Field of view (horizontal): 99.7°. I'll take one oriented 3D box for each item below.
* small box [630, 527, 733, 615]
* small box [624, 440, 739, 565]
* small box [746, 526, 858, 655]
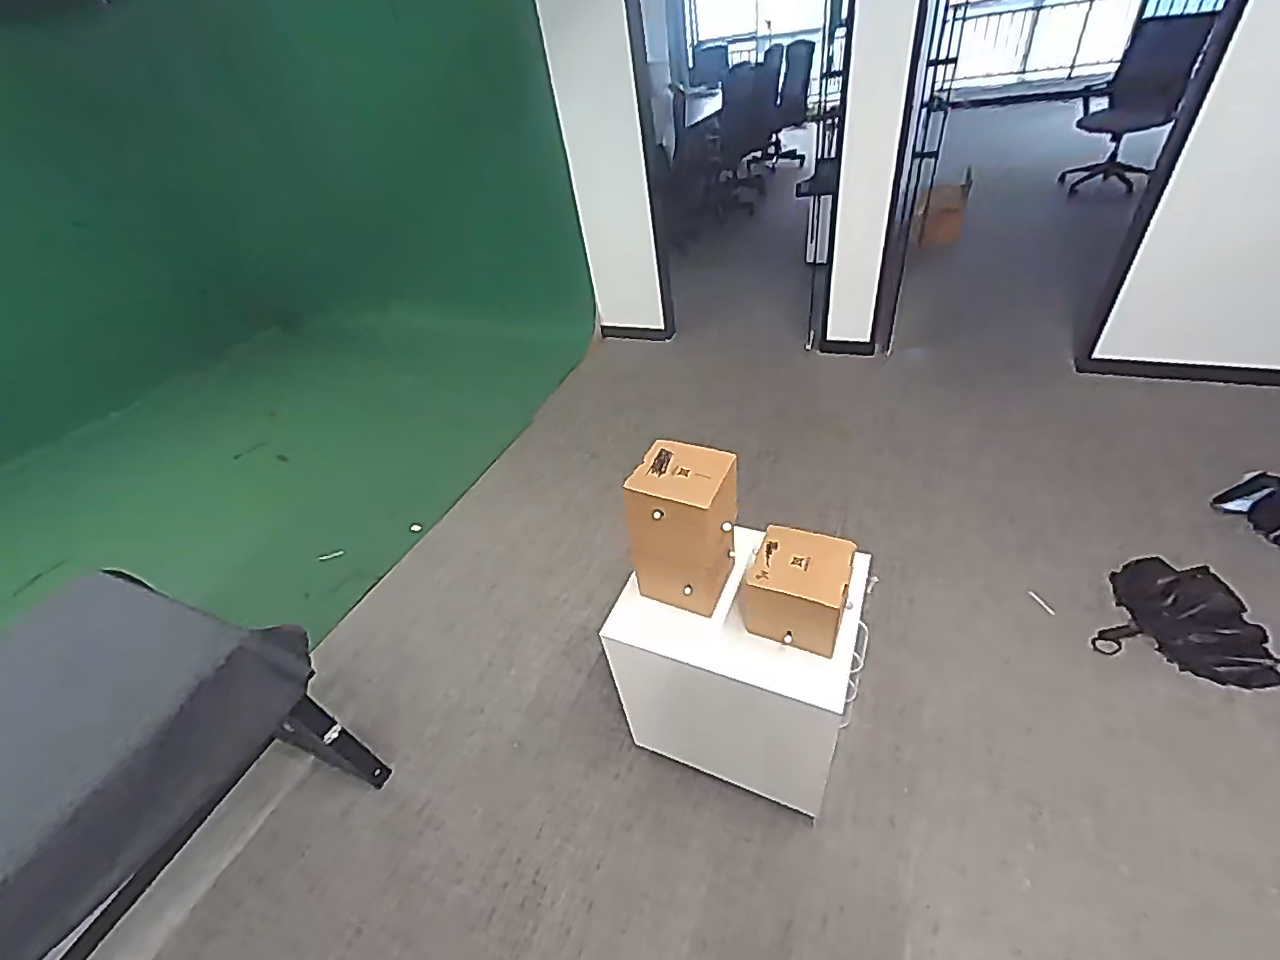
[{"bbox_3d":[0.099,0.172,1.190,0.179,0.176,0.168,12,44,23],"label":"small box"},{"bbox_3d":[0.088,0.046,1.084,0.179,0.176,0.168,15,45,22],"label":"small box"},{"bbox_3d":[0.321,0.225,1.086,0.179,0.176,0.168,13,45,23],"label":"small box"}]
